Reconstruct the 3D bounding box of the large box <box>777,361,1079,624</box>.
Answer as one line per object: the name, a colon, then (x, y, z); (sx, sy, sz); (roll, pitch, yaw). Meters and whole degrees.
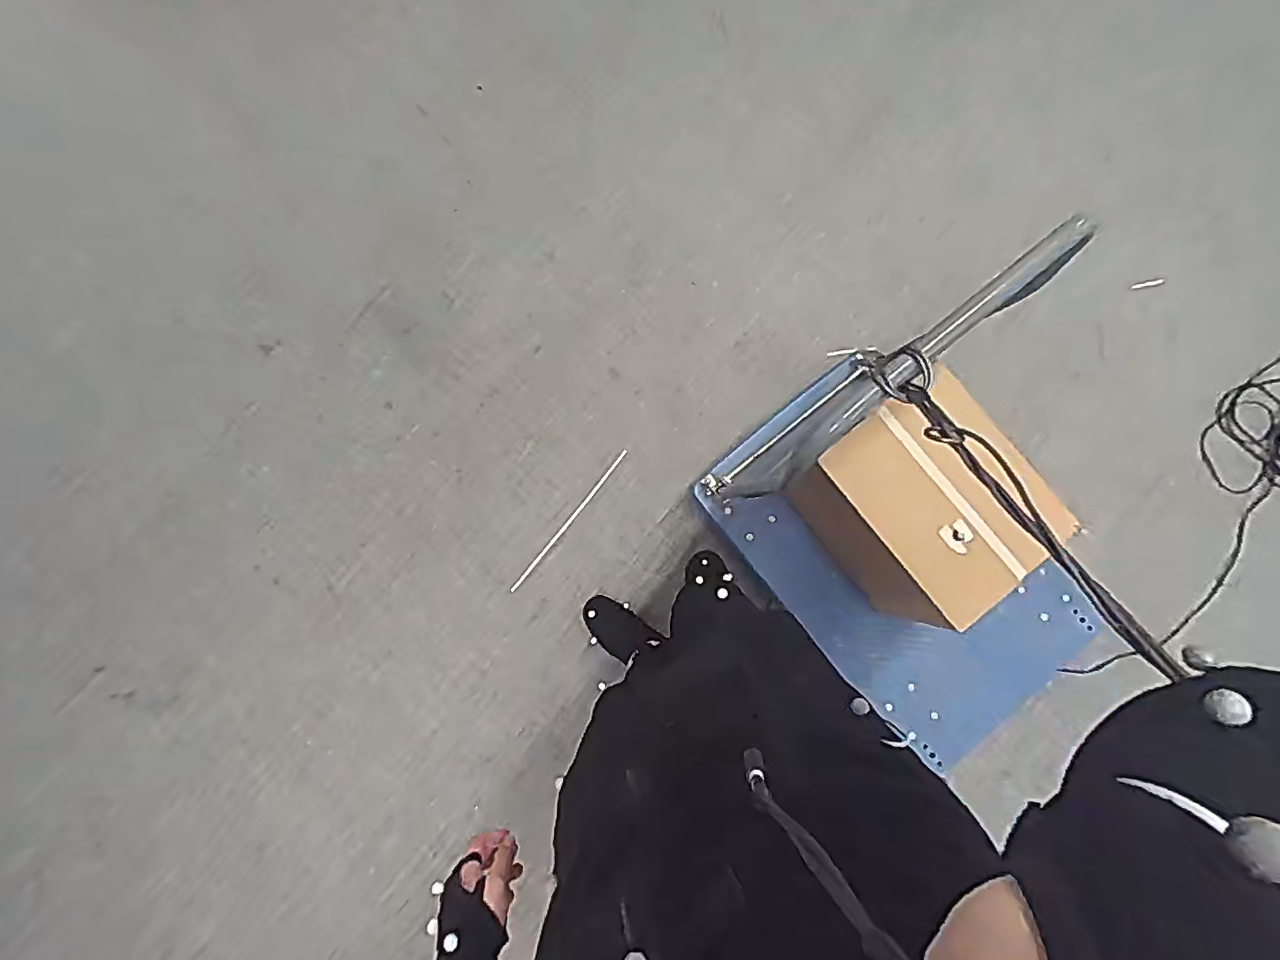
large box: (0.566, 0.032, 1.144); (0.320, 0.320, 0.408); (-38, 86, -5)
